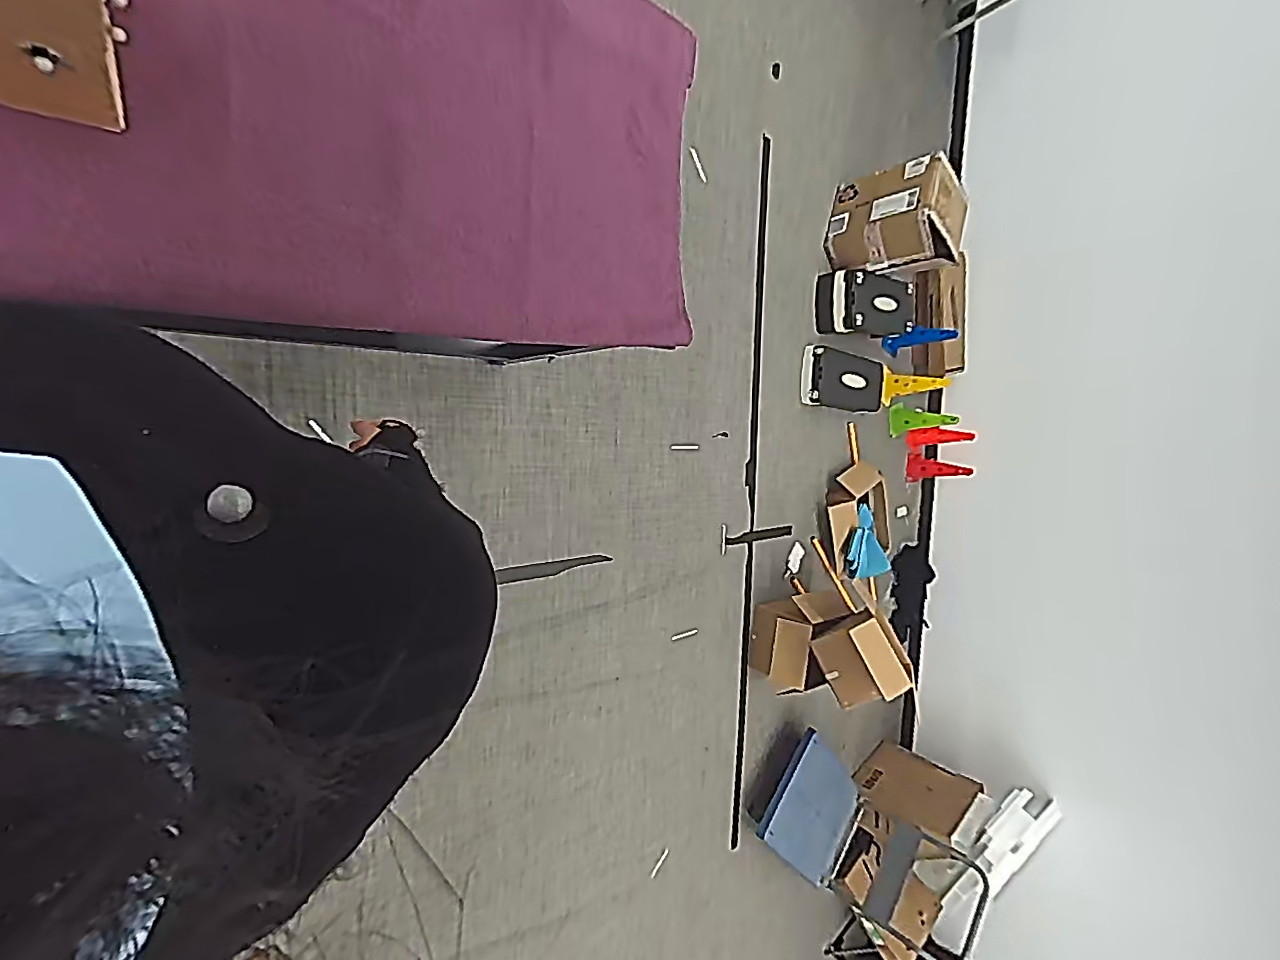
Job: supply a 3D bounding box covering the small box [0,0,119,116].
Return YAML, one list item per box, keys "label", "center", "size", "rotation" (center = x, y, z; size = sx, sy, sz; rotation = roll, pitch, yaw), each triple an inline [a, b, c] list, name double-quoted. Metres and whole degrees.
- label: "small box"
  center: [-0.547, -0.427, 0.428]
  size: [0.179, 0.176, 0.168]
  rotation: [-8, 101, -41]
